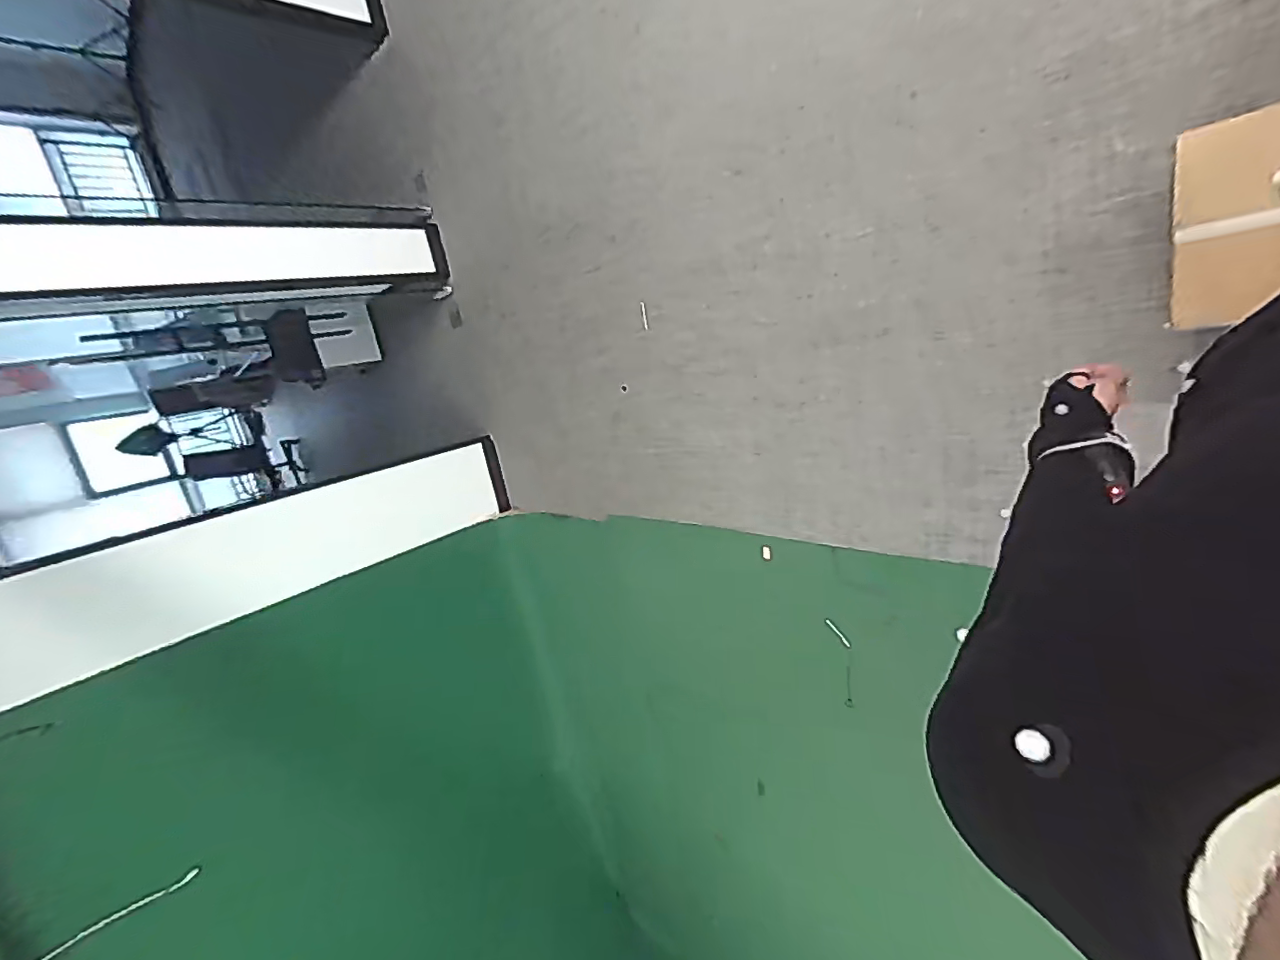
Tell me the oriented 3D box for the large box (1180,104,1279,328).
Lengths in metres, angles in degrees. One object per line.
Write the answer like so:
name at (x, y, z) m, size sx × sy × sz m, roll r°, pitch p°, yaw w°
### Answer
large box at (1.146, -0.451, 0.854) m, size 0.408 × 0.320 × 0.320 m, roll 2°, pitch 107°, yaw 47°
